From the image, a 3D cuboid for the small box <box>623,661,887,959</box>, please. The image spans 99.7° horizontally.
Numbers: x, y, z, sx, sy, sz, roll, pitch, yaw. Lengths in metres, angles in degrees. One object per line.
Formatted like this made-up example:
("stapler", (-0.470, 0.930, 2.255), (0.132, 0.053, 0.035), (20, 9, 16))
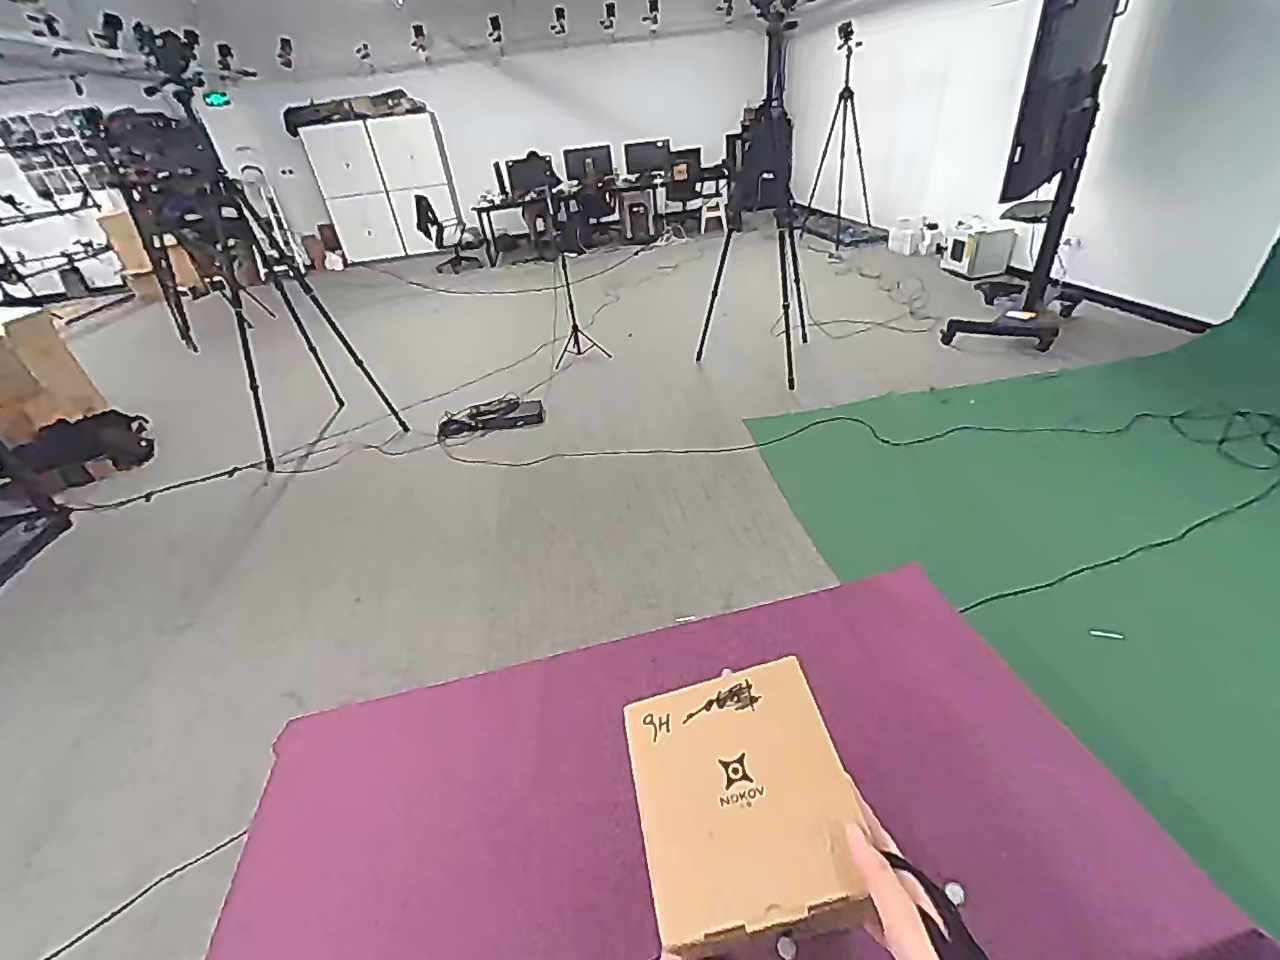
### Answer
("small box", (0.097, 0.295, 0.482), (0.168, 0.176, 0.179), (-18, 46, 3))
